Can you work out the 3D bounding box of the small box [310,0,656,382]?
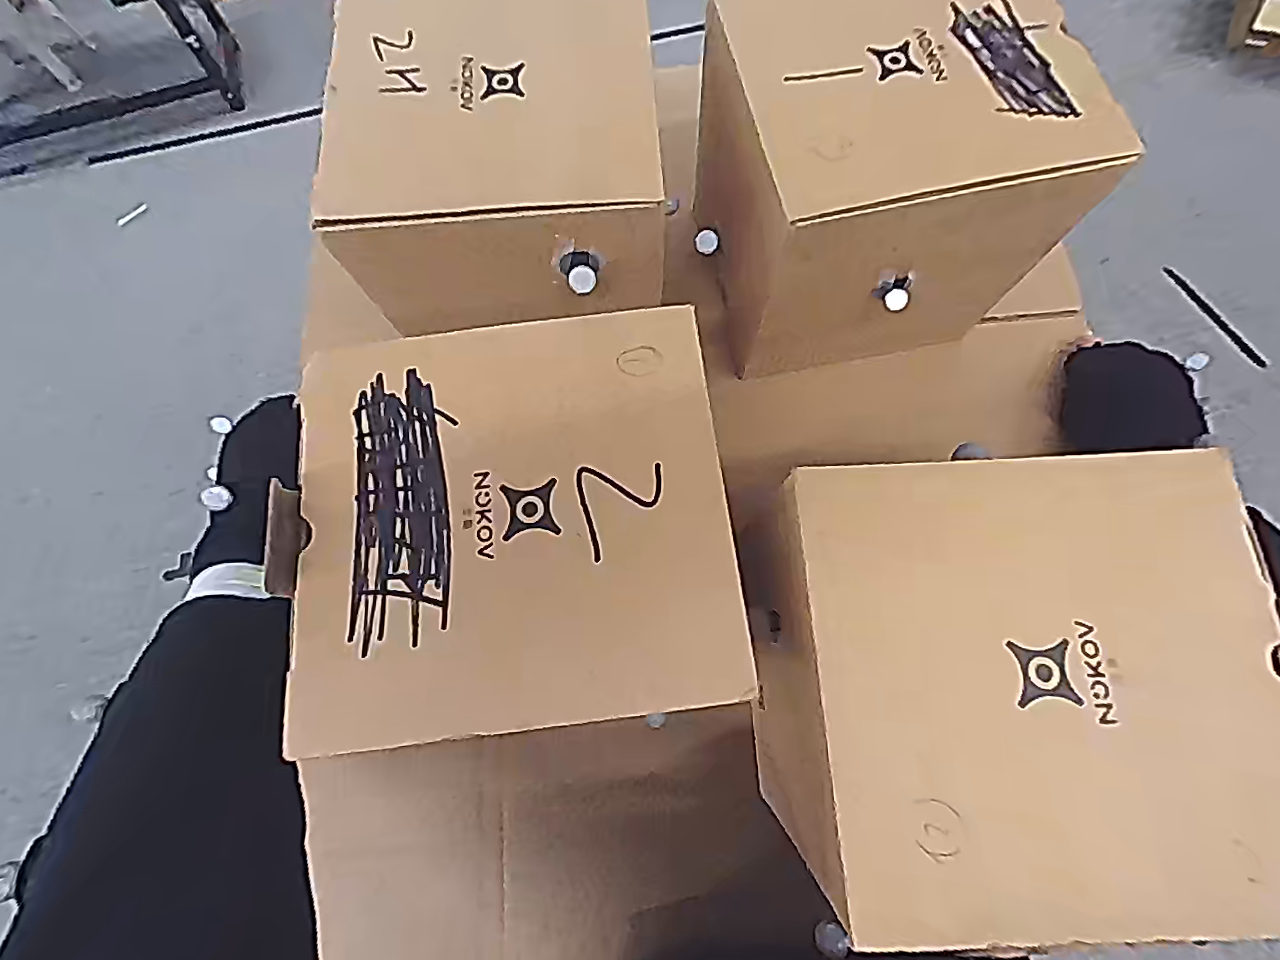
[{"bbox_3d":[-0.082,-0.180,0.368,0.179,0.176,0.168,-4,74,1],"label":"small box"}]
